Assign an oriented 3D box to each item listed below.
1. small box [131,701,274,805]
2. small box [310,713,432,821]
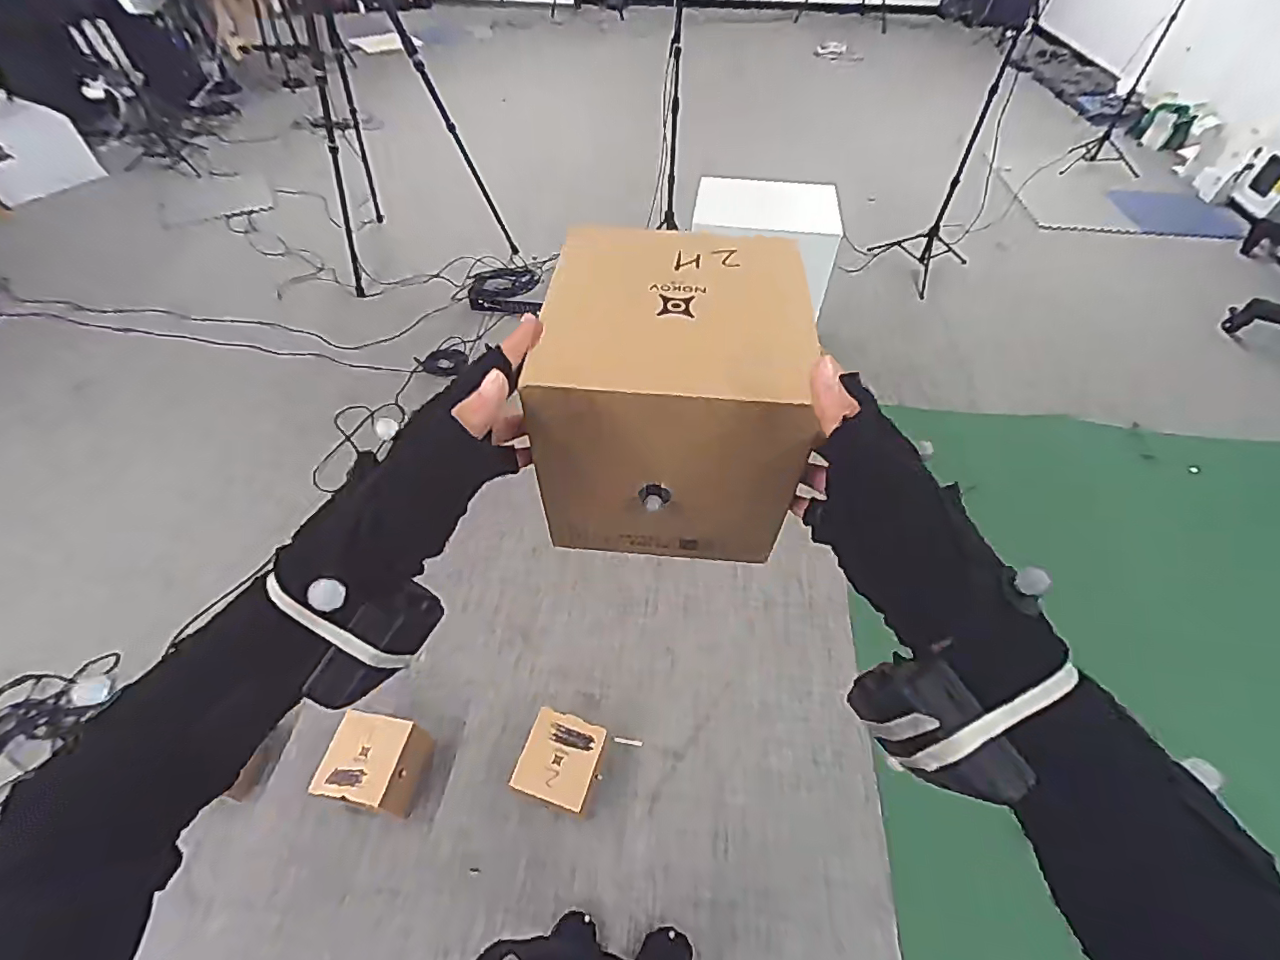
[{"bbox_3d":[-1.009,0.643,1.272,0.168,0.176,0.179,4,51,3],"label":"small box"},{"bbox_3d":[-0.608,0.667,1.250,0.168,0.176,0.179,8,50,7],"label":"small box"}]
